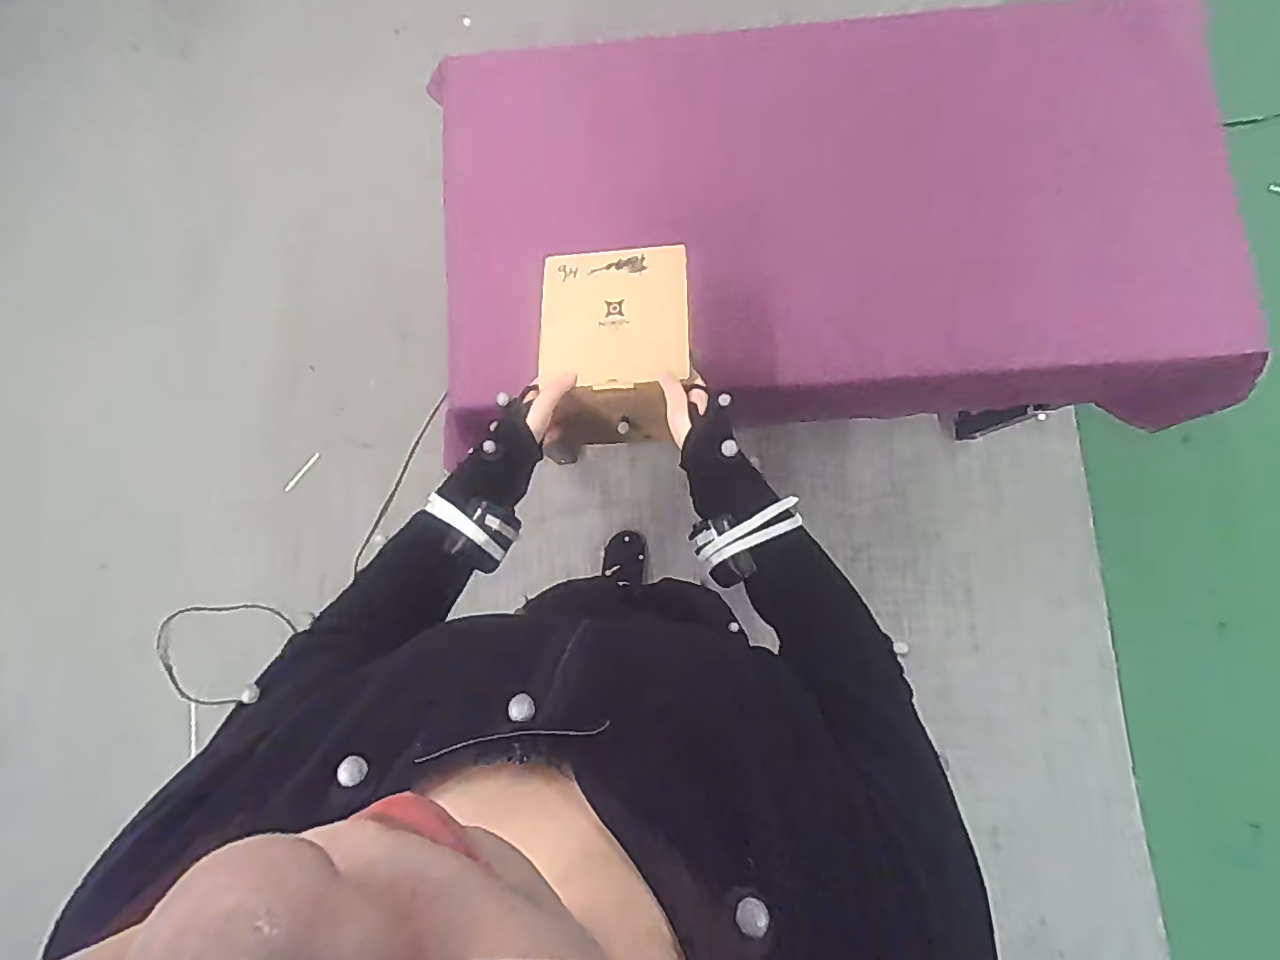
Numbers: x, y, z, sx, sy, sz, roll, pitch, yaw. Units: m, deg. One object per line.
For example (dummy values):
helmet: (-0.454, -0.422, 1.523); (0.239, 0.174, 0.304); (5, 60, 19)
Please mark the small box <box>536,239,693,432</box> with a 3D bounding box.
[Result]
small box: (-0.021, -0.165, 0.673); (0.168, 0.176, 0.179); (-2, 73, 7)
